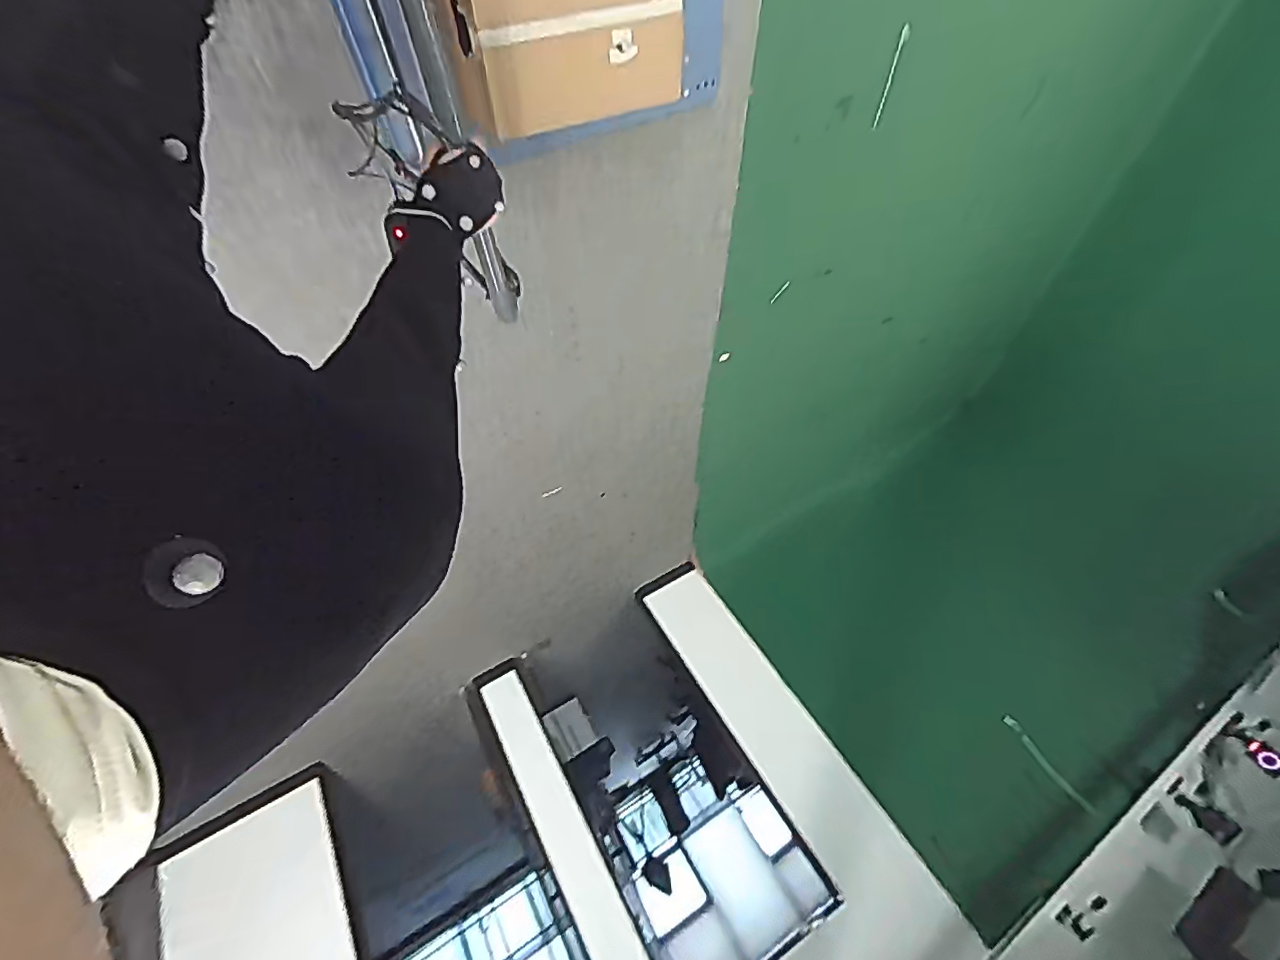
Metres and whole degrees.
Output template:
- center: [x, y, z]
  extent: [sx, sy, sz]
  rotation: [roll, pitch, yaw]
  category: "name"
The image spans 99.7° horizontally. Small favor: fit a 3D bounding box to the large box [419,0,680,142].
- center: [-0.176, -0.893, 1.011]
  extent: [0.408, 0.320, 0.320]
  rotation: [-26, 146, -18]
  category: "large box"
